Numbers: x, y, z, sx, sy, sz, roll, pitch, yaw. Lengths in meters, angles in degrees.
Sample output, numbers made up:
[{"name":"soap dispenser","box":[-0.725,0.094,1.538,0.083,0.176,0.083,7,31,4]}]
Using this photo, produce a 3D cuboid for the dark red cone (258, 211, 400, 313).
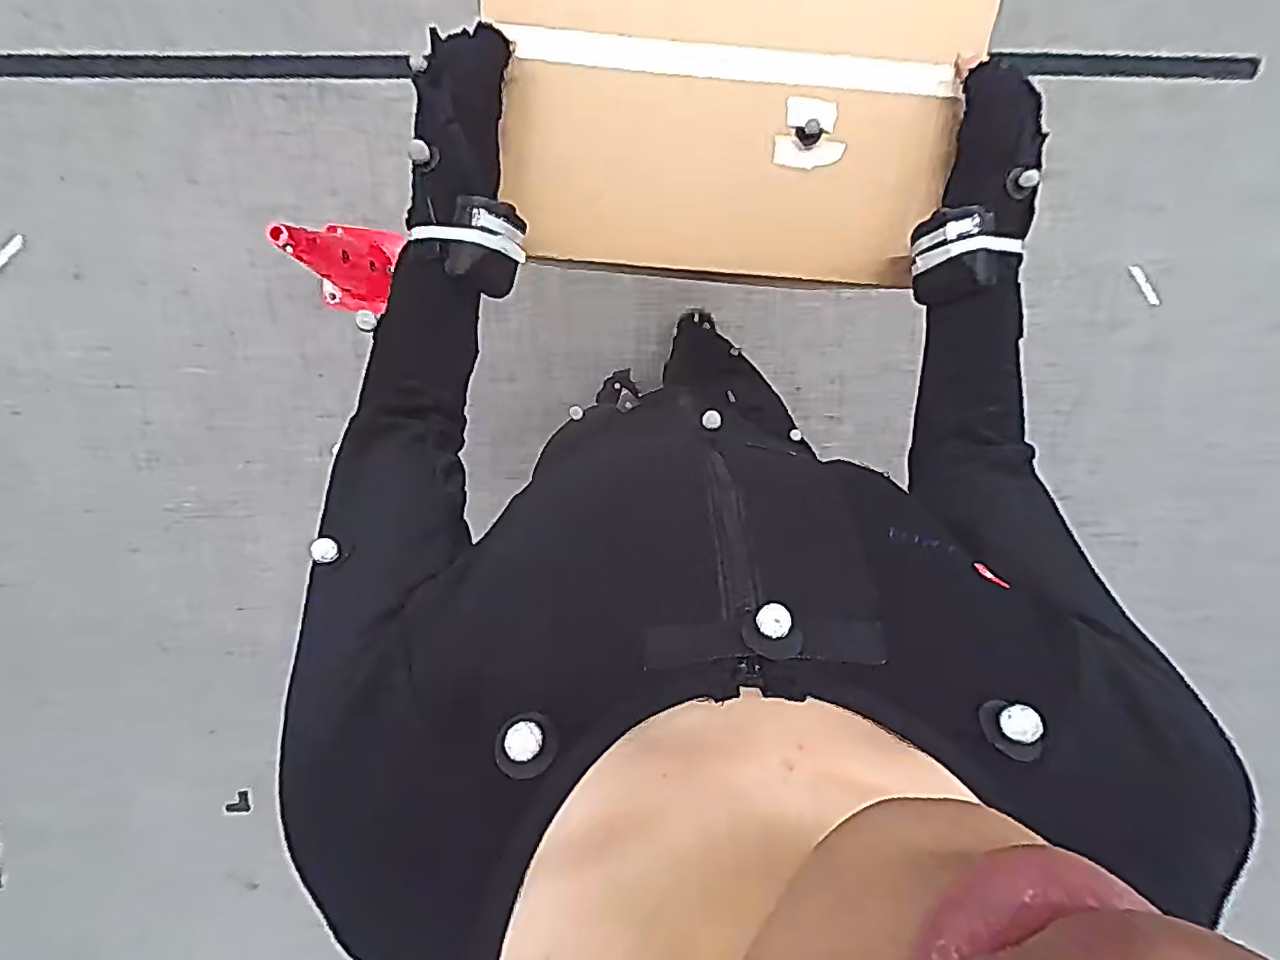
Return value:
[{"name":"dark red cone","box":[-0.677,-0.489,1.156,0.201,0.394,0.202,5,100,-4]}]

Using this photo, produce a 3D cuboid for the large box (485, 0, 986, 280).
[{"name":"large box","box":[0.068,-0.394,0.580,0.408,0.320,0.320,3,109,-3]}]

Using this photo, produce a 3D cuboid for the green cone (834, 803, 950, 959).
[{"name":"green cone","box":[0.744,1.161,1.530,0.202,0.368,0.200,-38,100,3]}]
